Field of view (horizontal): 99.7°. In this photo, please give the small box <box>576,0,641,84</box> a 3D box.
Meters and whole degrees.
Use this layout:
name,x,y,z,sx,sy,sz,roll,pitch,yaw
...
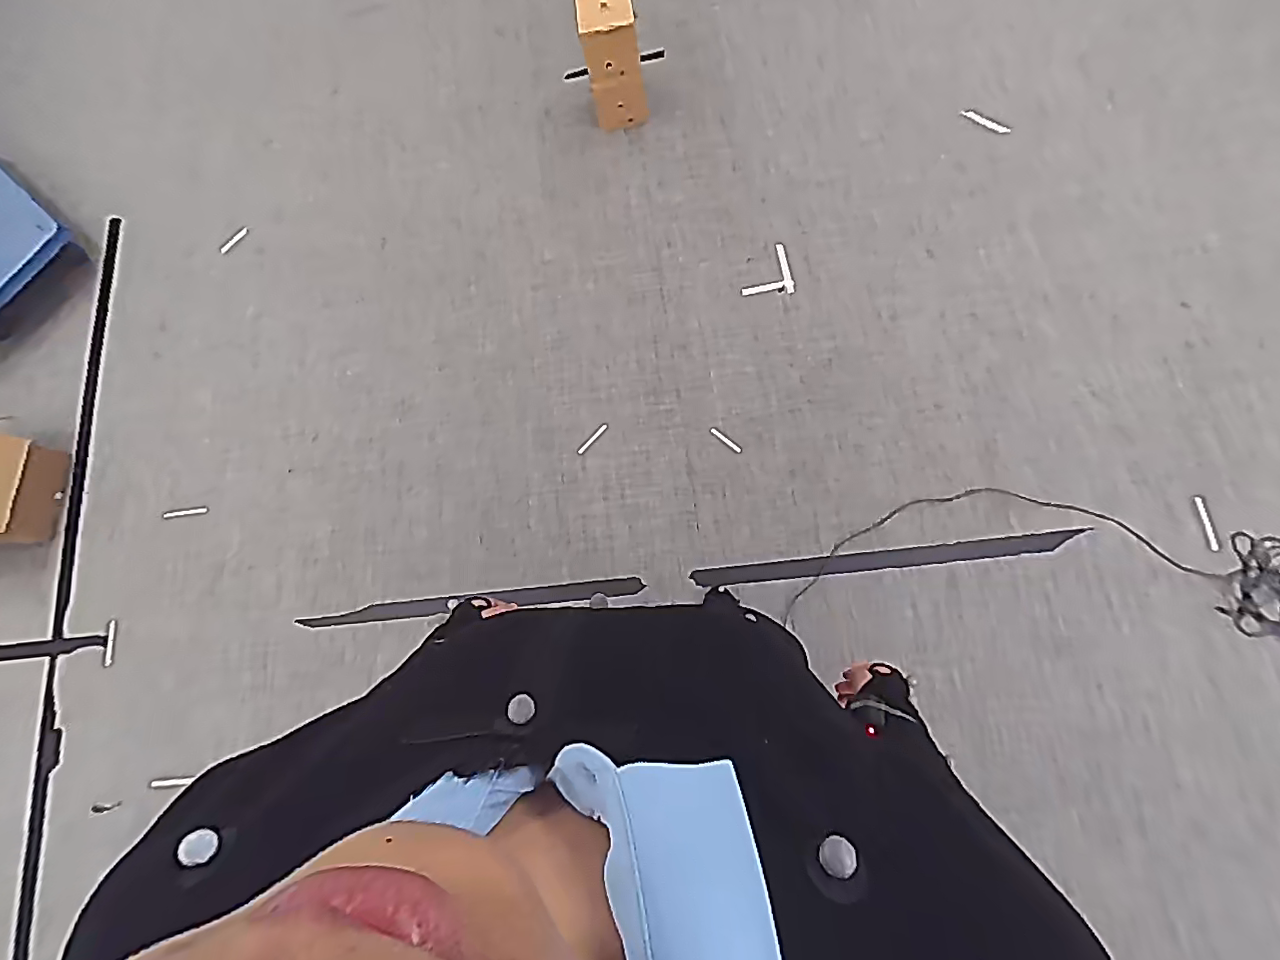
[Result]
name,x,y,z,sx,sy,sz,roll,pitch,yaw
small box,-0.094,-1.367,1.656,0.168,0.176,0.179,-8,77,6

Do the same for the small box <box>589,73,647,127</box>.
name,x,y,z,sx,sy,sz,roll,pitch,yaw
small box,-0.075,-1.322,1.811,0.168,0.176,0.179,-10,76,5
